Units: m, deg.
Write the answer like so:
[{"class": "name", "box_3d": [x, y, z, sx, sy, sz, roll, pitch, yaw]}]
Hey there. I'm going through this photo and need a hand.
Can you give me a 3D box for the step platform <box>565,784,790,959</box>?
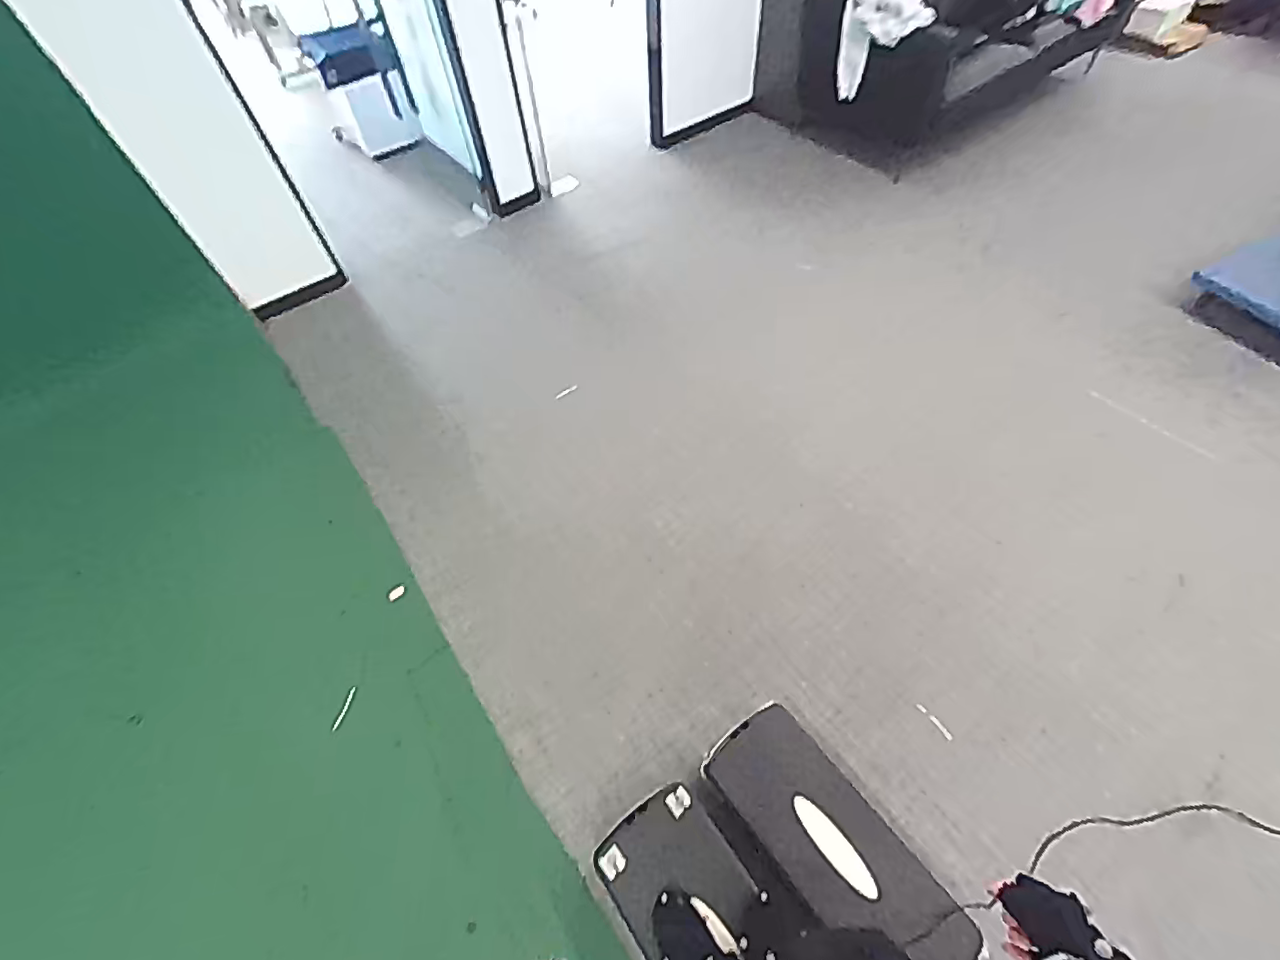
[{"class": "step platform", "box_3d": [0.152, 0.947, 0.993, 0.286, 0.204, 0.684, -33, 60, -19]}]
